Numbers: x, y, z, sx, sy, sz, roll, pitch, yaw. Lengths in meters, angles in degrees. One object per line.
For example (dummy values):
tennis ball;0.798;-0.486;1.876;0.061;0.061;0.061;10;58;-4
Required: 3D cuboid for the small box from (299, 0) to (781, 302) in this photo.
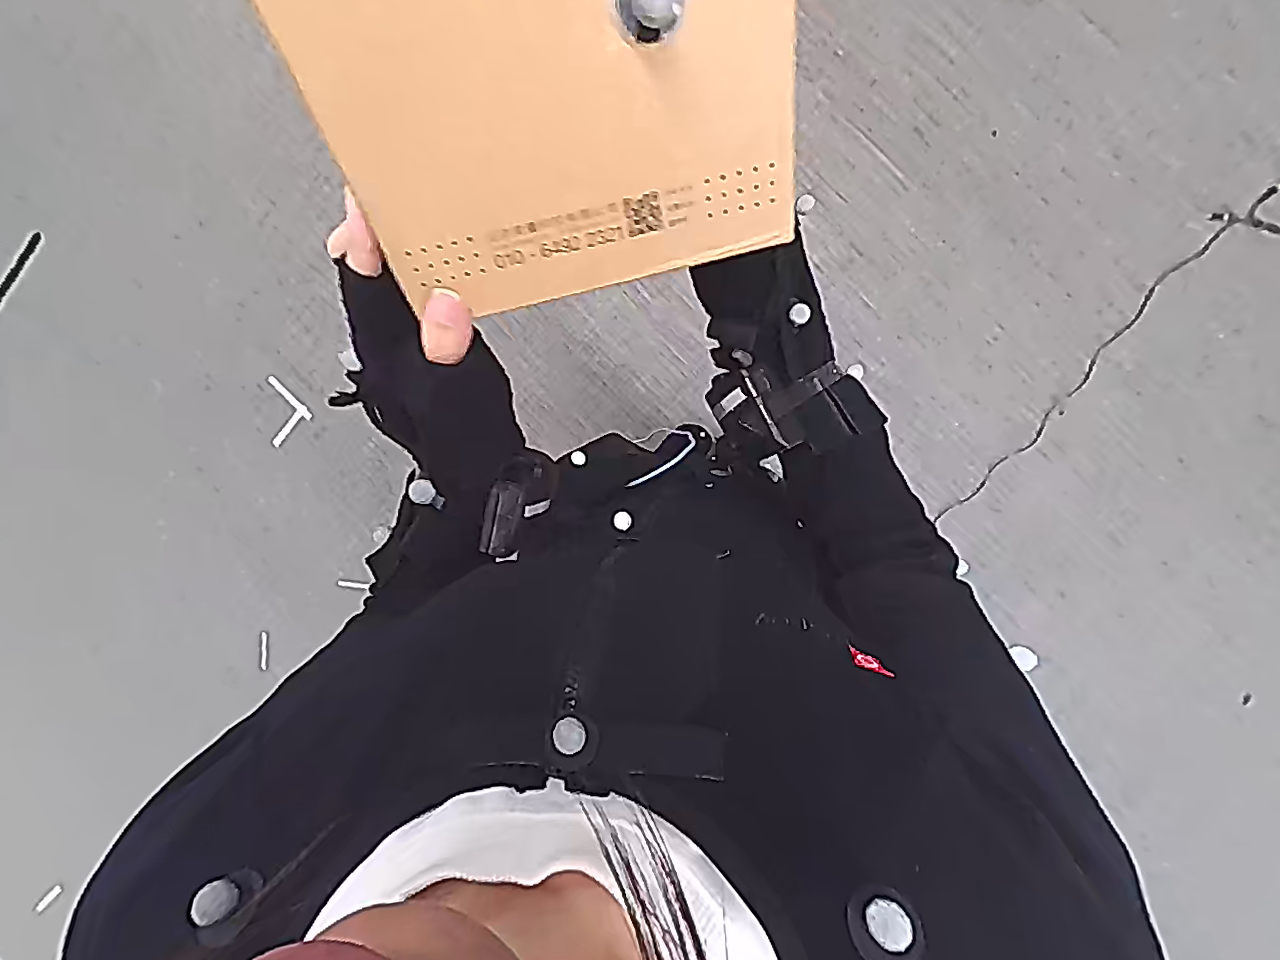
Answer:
small box;-0.035;-0.203;0.260;0.168;0.179;0.176;-13;133;2
